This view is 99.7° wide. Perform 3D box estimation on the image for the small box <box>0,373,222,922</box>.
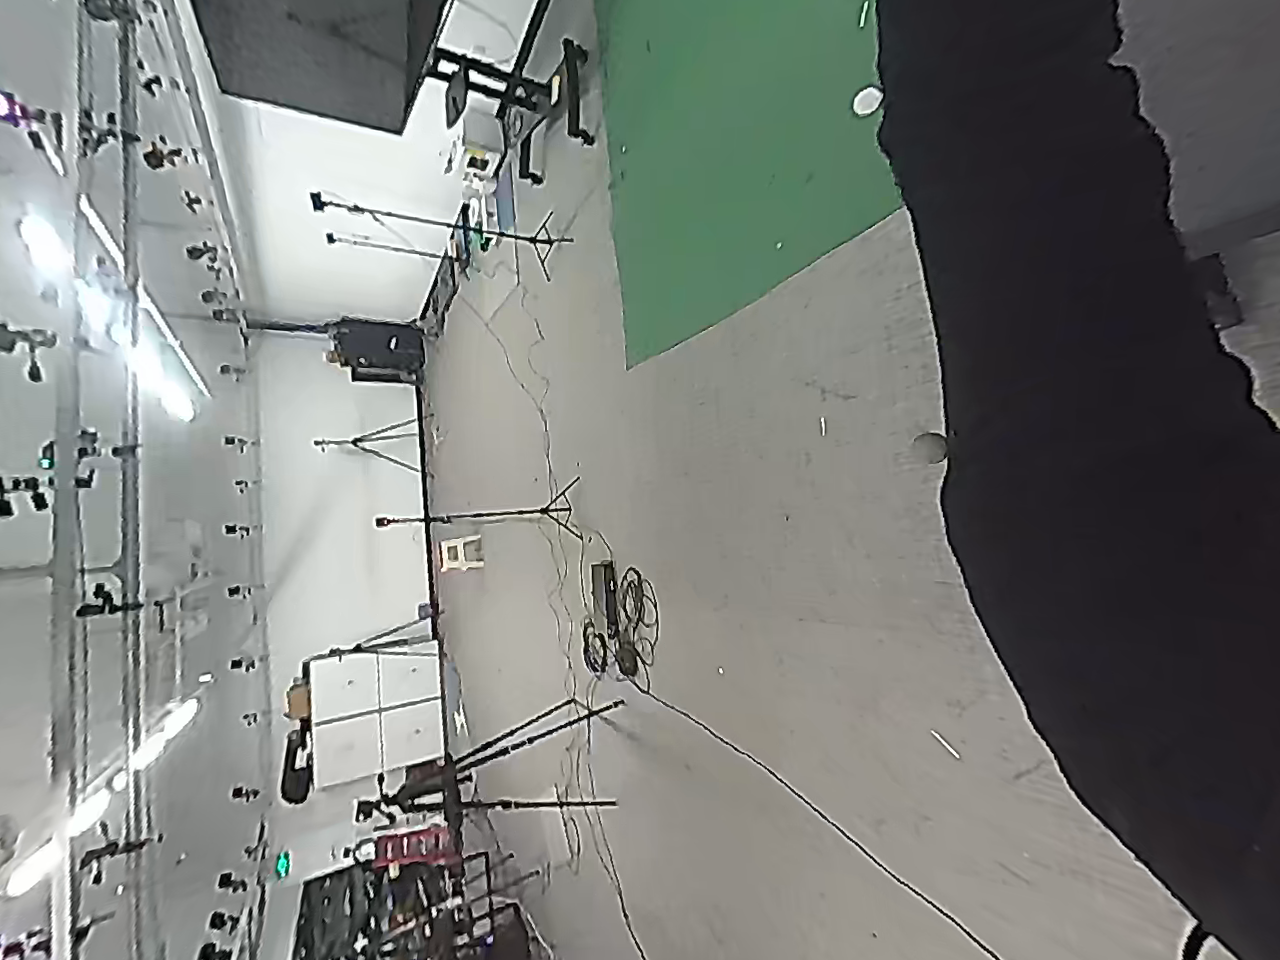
[{"bbox_3d":[-0.290,0.065,0.211,0.179,0.176,0.168,34,129,41],"label":"small box"}]
